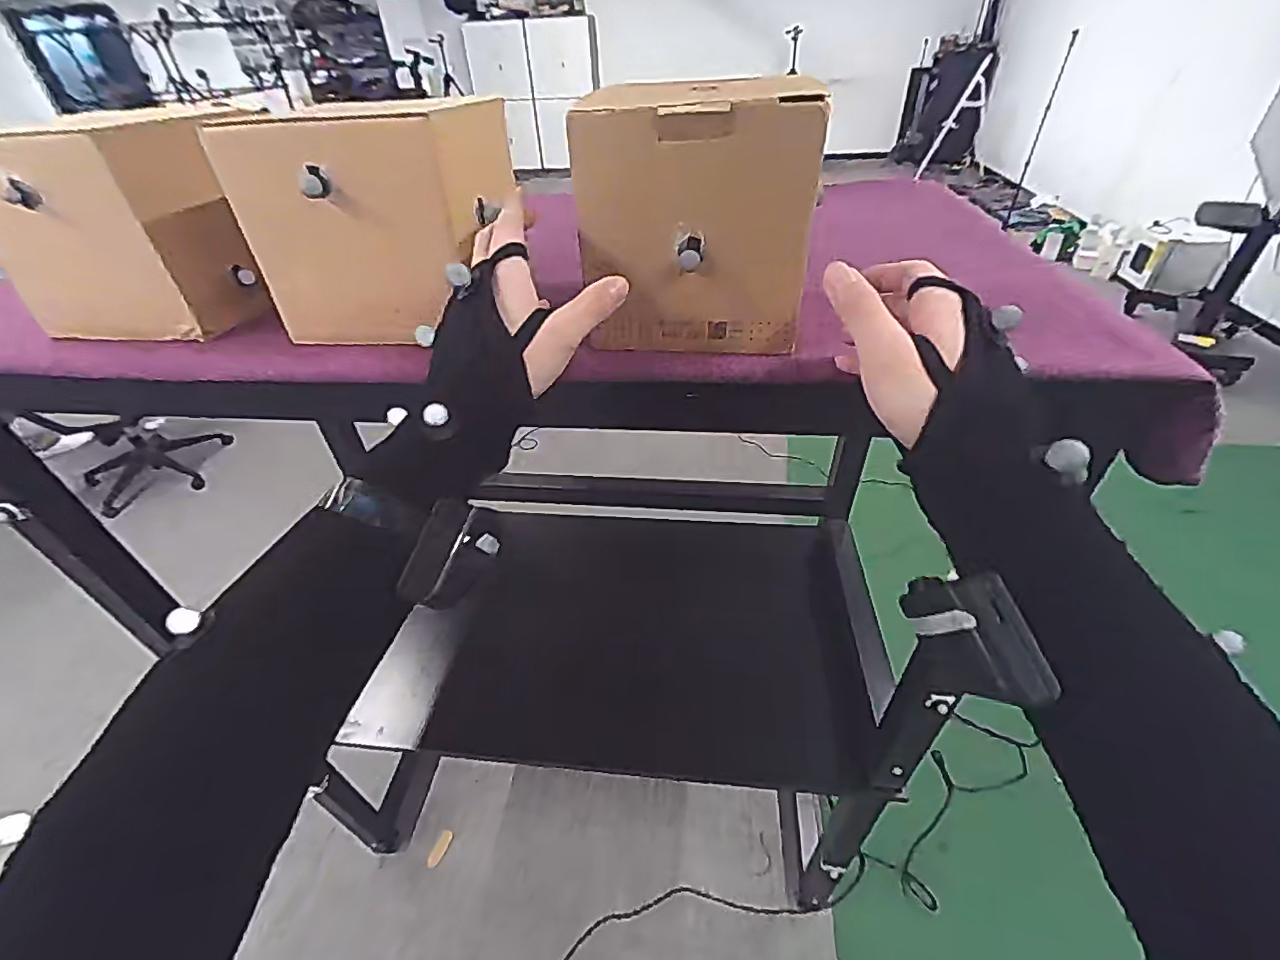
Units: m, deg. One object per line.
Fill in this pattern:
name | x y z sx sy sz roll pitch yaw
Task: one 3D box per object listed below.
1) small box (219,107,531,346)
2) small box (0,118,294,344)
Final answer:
small box | -0.211 -0.231 0.497 0.179 0.176 0.168 2 38 7
small box | -0.462 -0.243 0.528 0.179 0.176 0.168 4 39 8
